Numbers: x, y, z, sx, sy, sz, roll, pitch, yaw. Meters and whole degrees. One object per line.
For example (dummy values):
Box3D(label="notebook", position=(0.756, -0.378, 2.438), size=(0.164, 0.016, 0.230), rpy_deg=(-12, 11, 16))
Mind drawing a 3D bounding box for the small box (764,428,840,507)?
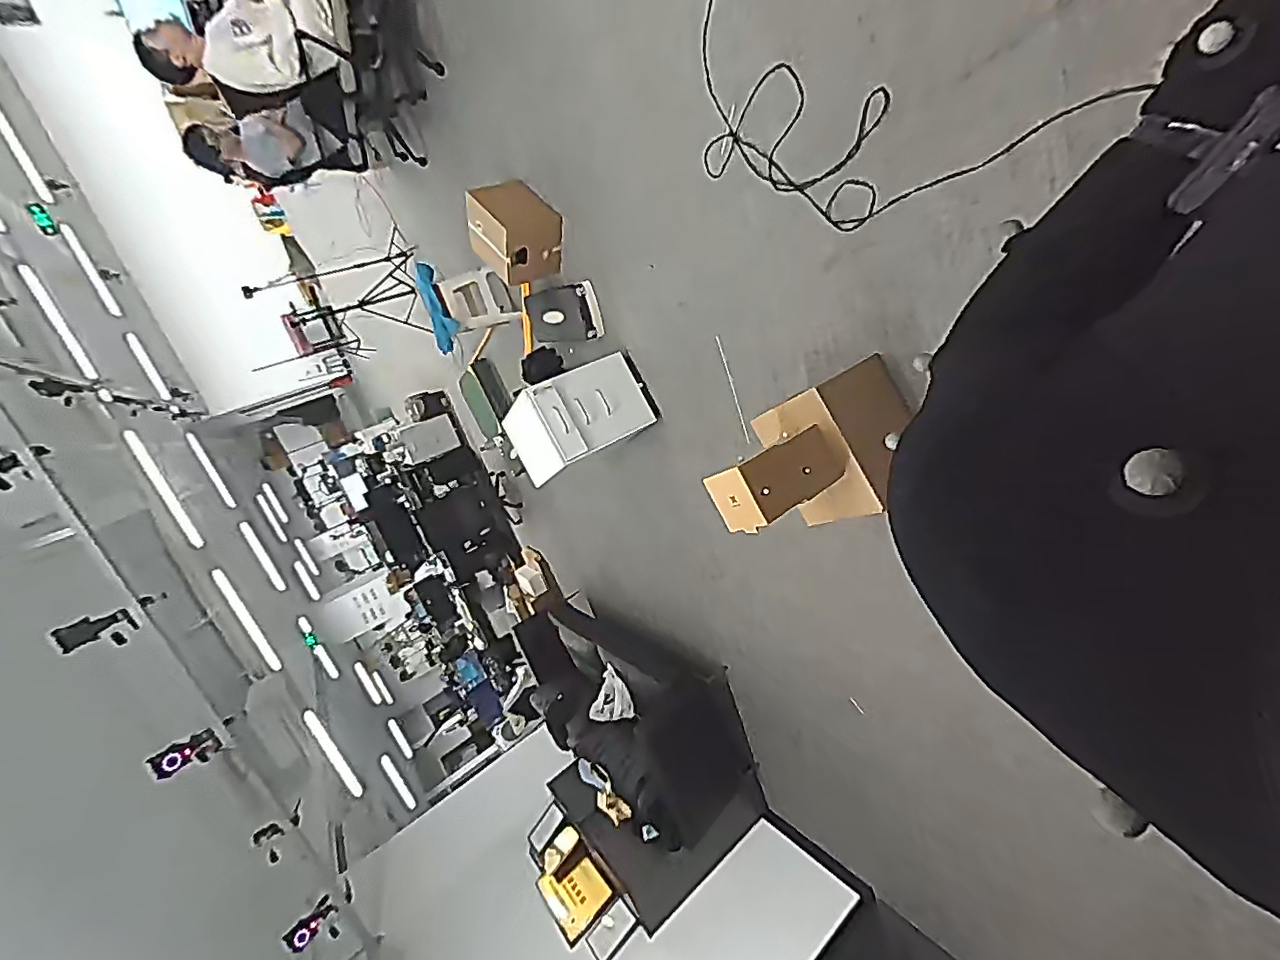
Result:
Box3D(label="small box", position=(0.452, -0.028, 1.593), size=(0.179, 0.176, 0.168), rpy_deg=(62, 151, -1))

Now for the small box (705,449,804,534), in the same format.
Box3D(label="small box", position=(0.321, 0.028, 1.514), size=(0.179, 0.176, 0.168), rpy_deg=(62, 150, -1))
